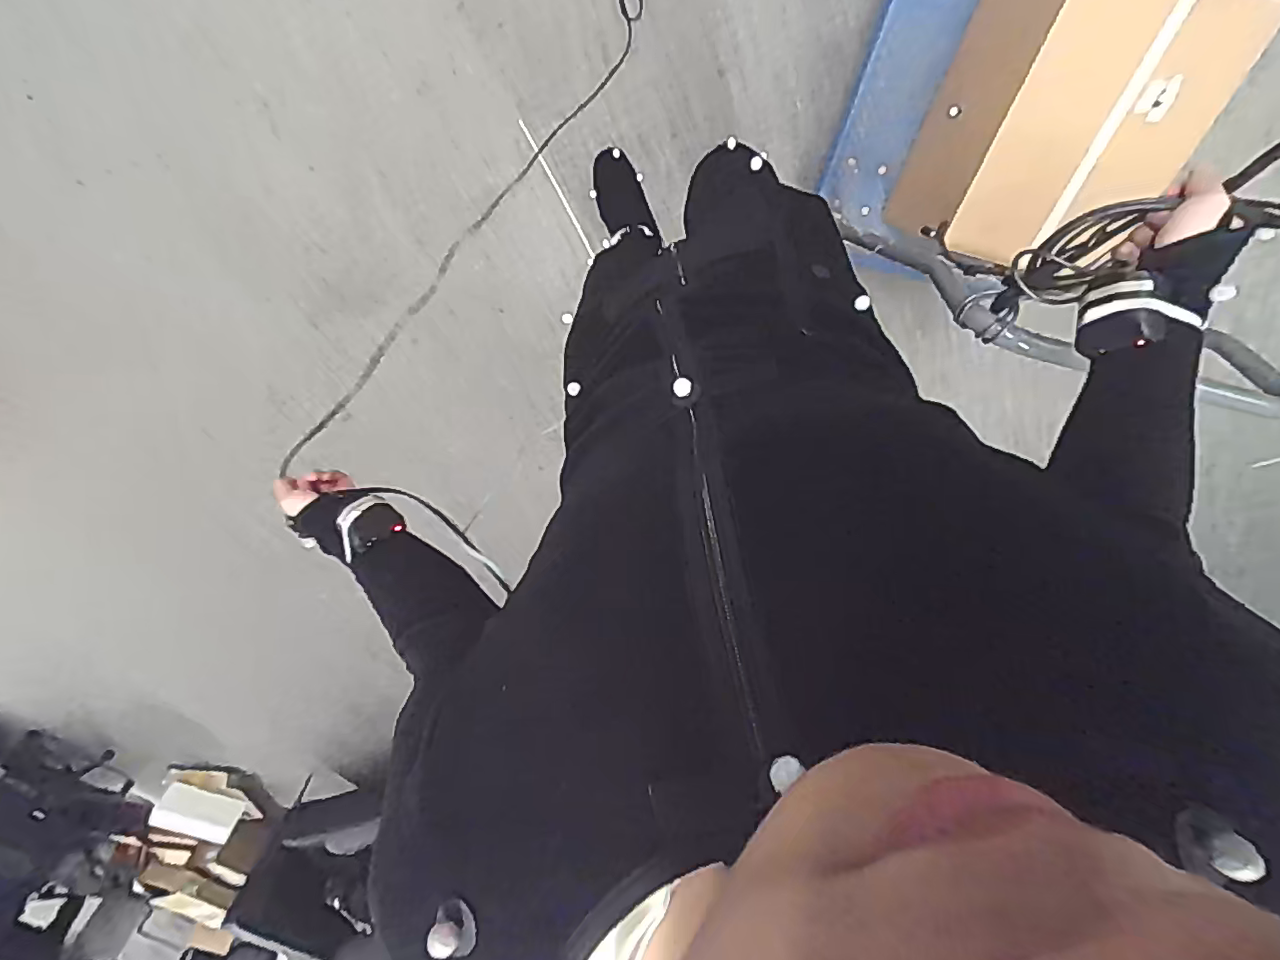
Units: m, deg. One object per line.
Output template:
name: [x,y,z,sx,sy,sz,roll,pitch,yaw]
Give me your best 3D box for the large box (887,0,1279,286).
large box: [0.717,-0.615,0.967,0.320,0.320,0.408,12,124,-7]
